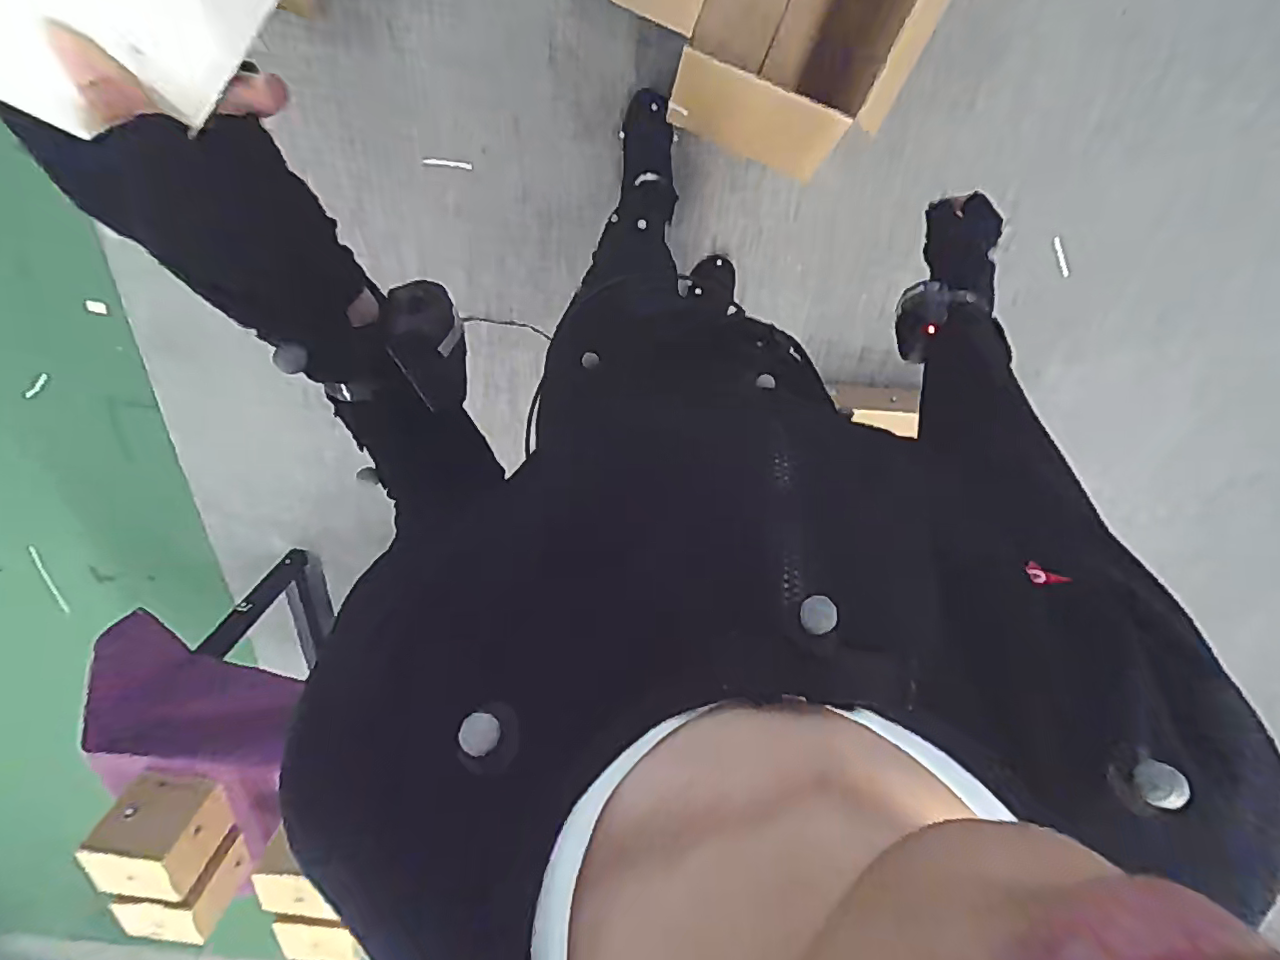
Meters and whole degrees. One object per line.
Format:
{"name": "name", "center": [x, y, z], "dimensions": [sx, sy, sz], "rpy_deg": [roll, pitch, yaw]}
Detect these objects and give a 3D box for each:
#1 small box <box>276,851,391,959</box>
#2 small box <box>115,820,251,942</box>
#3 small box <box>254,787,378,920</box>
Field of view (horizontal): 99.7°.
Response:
{"name": "small box", "center": [-0.714, 0.992, 1.281], "dimensions": [0.168, 0.176, 0.179], "rpy_deg": [7, 121, -1]}
{"name": "small box", "center": [-1.048, 0.927, 1.258], "dimensions": [0.168, 0.176, 0.179], "rpy_deg": [13, 120, -4]}
{"name": "small box", "center": [-0.681, 0.799, 1.162], "dimensions": [0.168, 0.176, 0.179], "rpy_deg": [12, 120, -4]}
